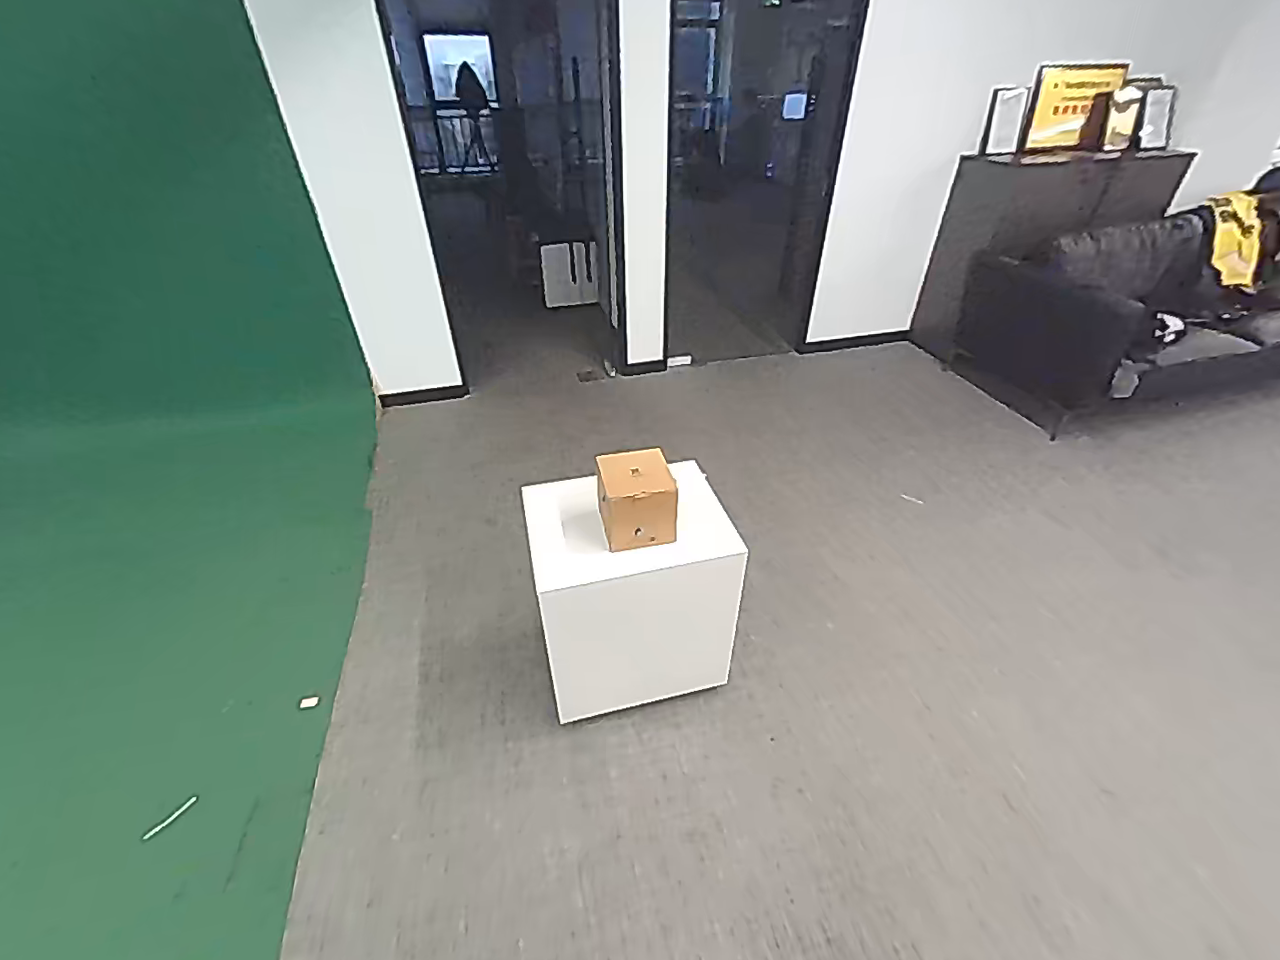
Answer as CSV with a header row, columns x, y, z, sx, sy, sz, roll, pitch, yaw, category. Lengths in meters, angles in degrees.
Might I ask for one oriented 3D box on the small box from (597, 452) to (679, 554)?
x,y,z,sx,sy,sz,roll,pitch,yaw,category
-0.009,0.054,1.322,0.168,0.176,0.179,-9,37,-10,small box
